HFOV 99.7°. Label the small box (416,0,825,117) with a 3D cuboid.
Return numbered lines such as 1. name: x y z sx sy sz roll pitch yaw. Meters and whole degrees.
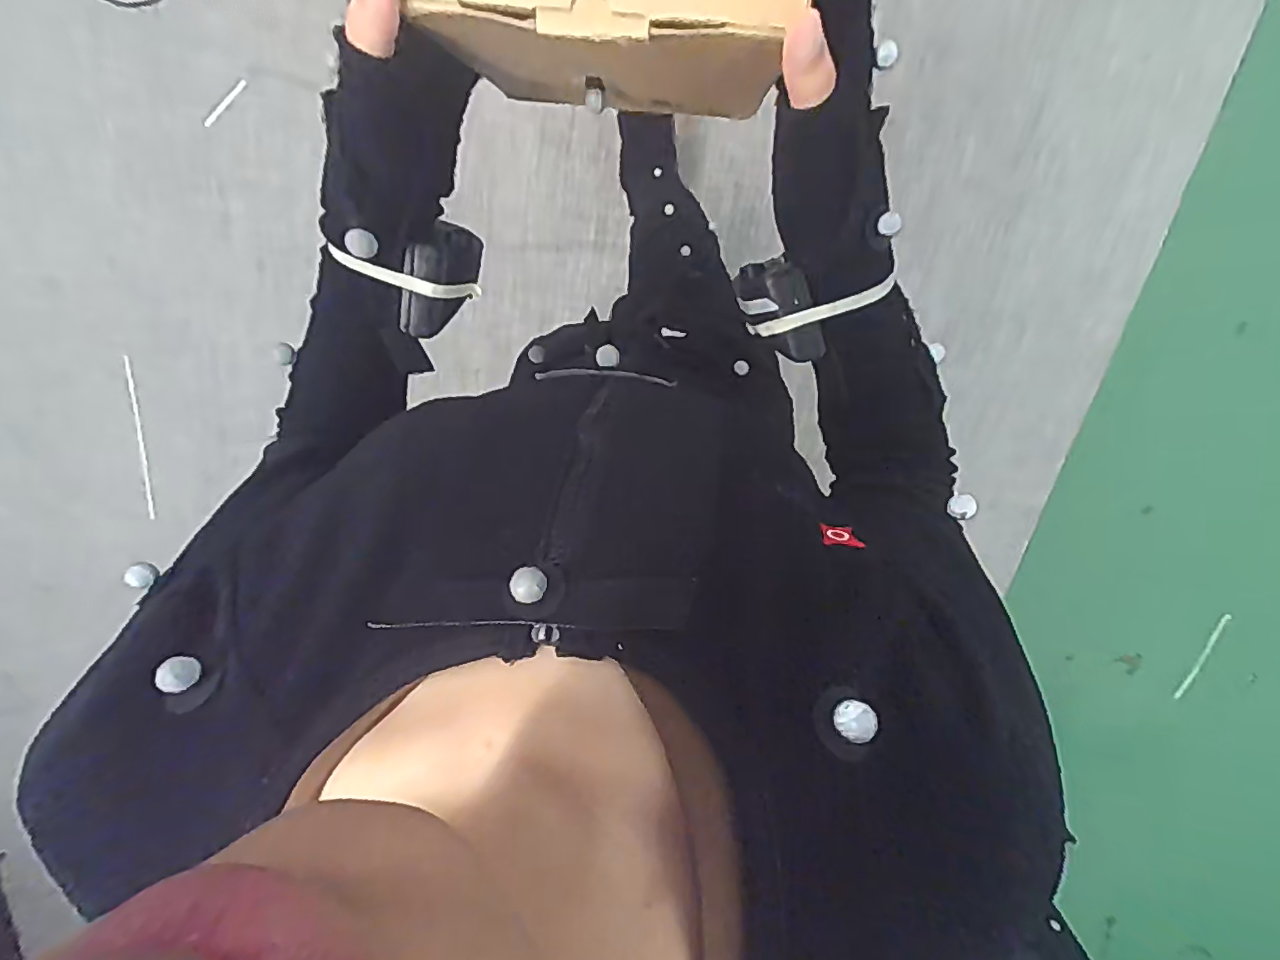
1. small box: -0.001 -0.288 0.244 0.168 0.176 0.179 5 116 2
